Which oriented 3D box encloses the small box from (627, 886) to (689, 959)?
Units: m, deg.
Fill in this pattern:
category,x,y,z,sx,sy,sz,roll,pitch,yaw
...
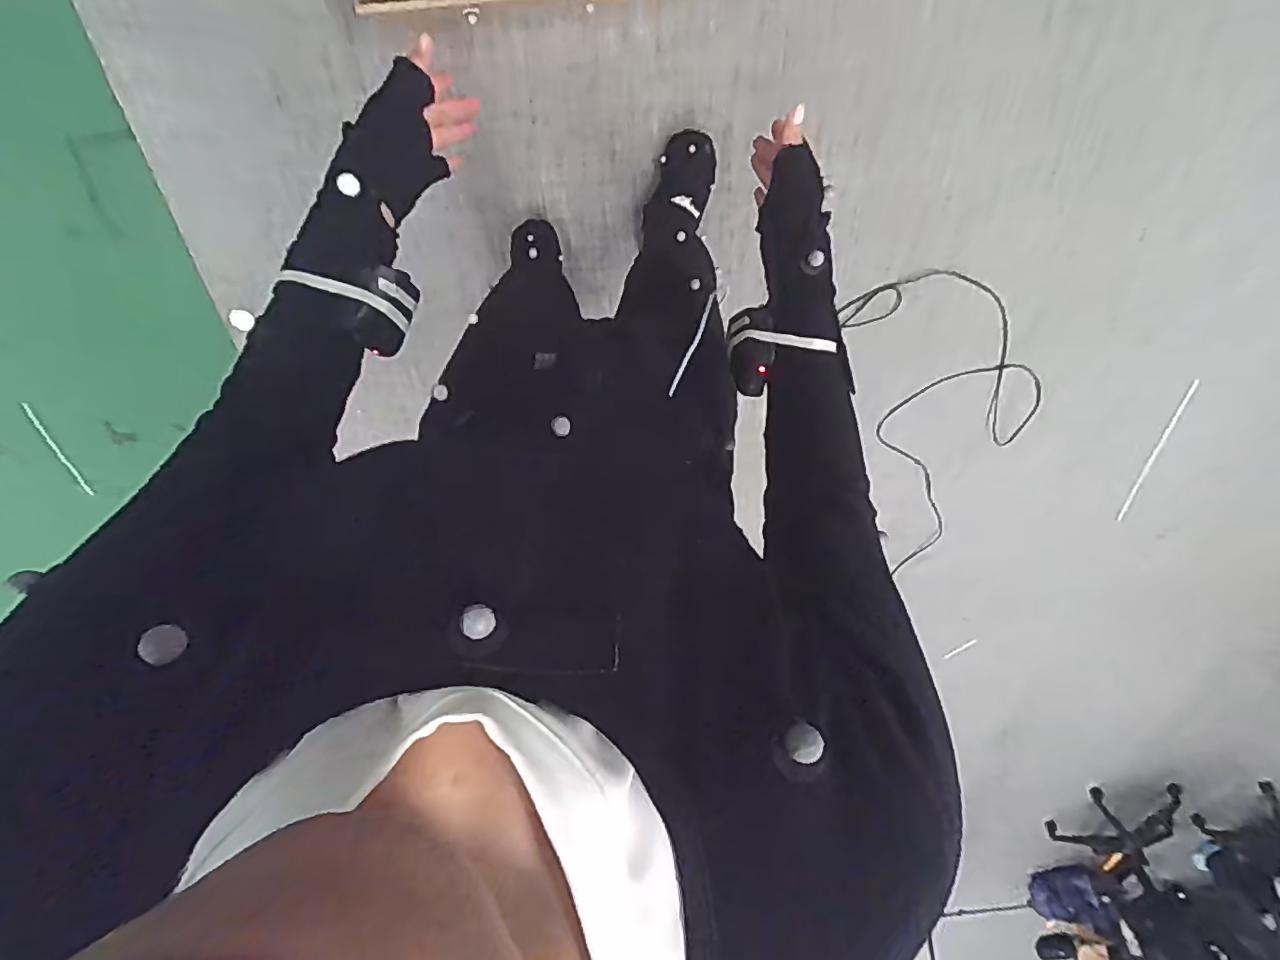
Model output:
category,x,y,z,sx,sy,sz,roll,pitch,yaw
small box,0.054,1.296,1.550,0.168,0.176,0.179,-4,124,2
